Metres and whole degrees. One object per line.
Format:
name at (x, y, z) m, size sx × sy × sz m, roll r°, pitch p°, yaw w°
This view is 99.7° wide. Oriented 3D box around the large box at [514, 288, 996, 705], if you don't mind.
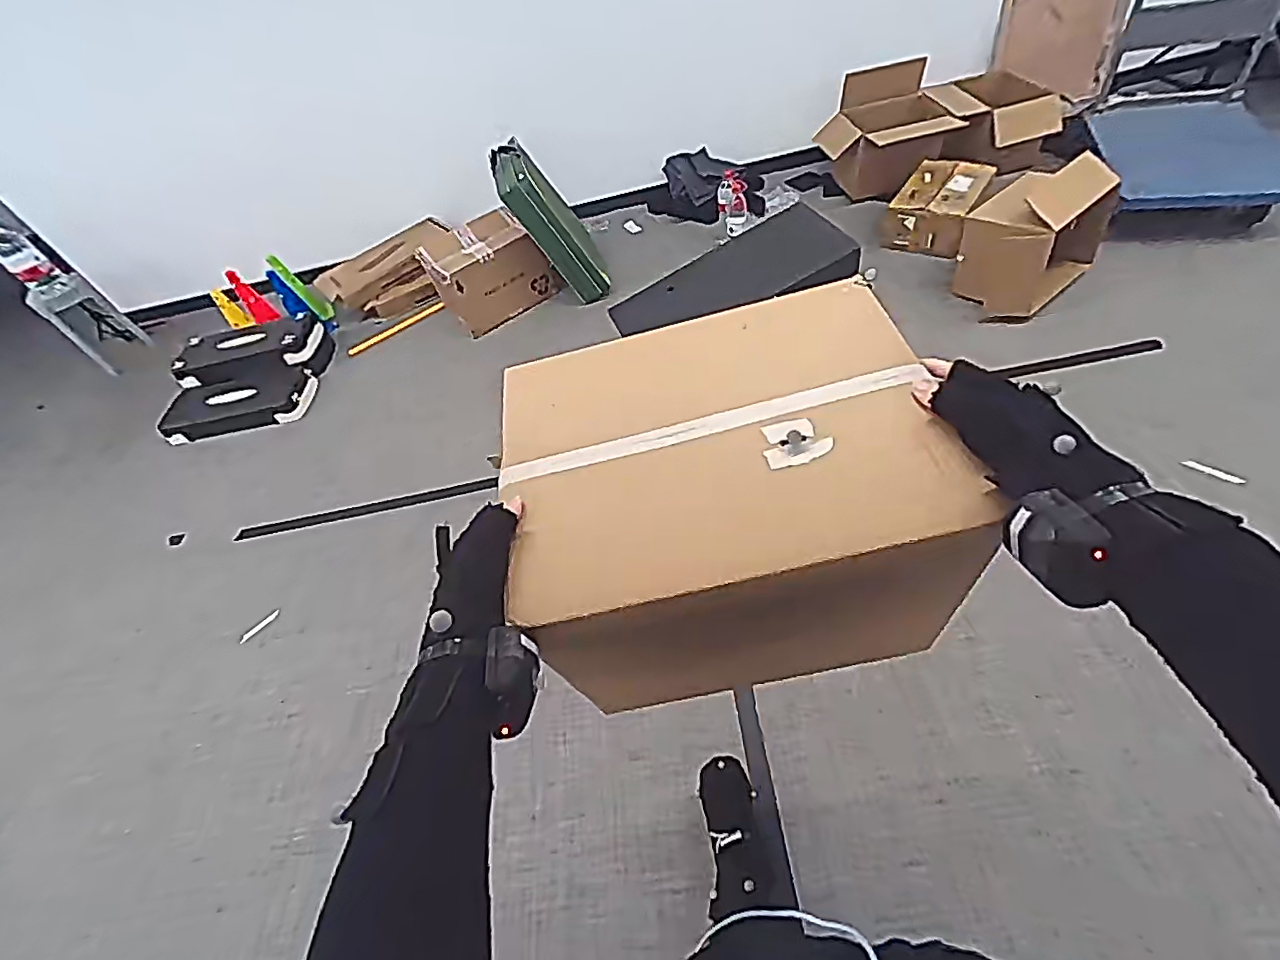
large box at (0.096, 0.036, 0.644) m, size 0.408 × 0.320 × 0.320 m, roll -14°, pitch 54°, yaw 4°
